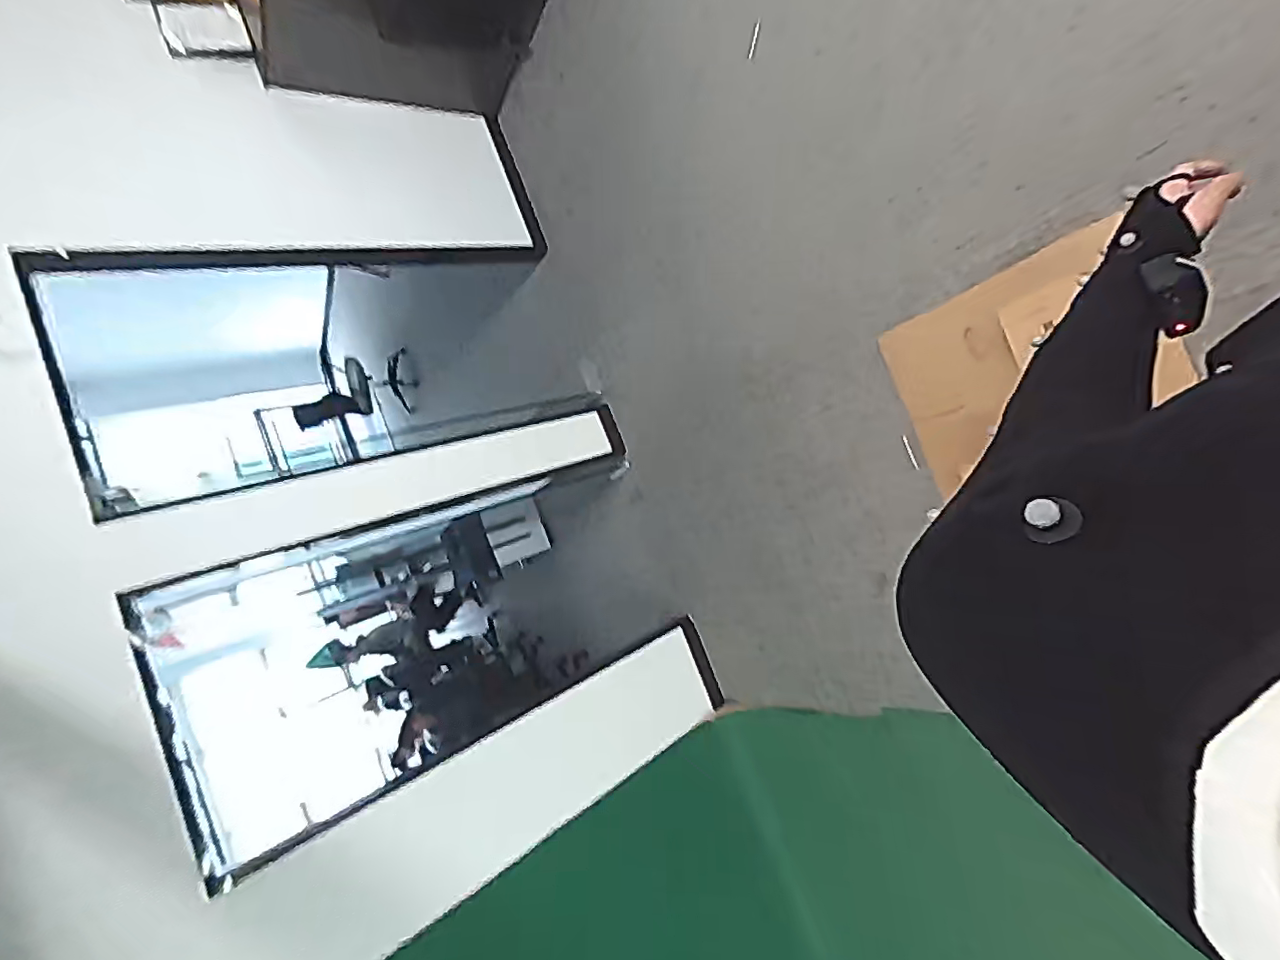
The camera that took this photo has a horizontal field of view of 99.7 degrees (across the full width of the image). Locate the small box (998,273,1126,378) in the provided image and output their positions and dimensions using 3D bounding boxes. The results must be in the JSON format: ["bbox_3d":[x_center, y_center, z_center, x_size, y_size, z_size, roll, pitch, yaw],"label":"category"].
[{"bbox_3d":[0.974,-0.357,1.246,0.168,0.176,0.179,-24,86,54],"label":"small box"}]

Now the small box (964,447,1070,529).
[{"bbox_3d":[0.977,0.017,1.401,0.168,0.176,0.179,-12,95,54],"label":"small box"}]
